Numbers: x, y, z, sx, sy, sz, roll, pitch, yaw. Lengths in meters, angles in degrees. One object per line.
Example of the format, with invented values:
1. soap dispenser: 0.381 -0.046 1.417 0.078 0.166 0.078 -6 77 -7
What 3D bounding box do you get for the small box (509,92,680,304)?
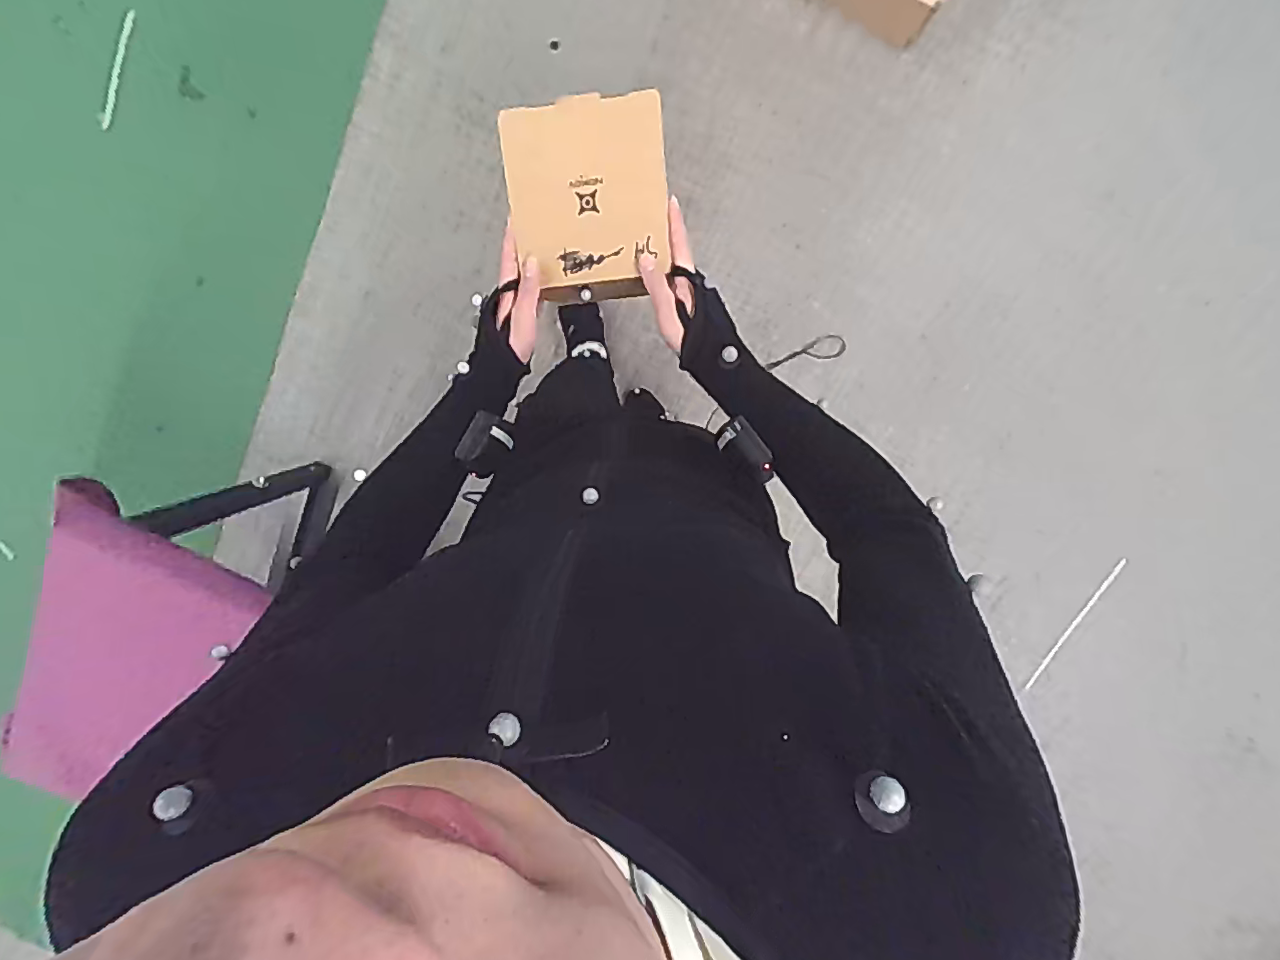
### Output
1. small box: -0.042 -0.311 0.631 0.168 0.176 0.179 -4 103 4
